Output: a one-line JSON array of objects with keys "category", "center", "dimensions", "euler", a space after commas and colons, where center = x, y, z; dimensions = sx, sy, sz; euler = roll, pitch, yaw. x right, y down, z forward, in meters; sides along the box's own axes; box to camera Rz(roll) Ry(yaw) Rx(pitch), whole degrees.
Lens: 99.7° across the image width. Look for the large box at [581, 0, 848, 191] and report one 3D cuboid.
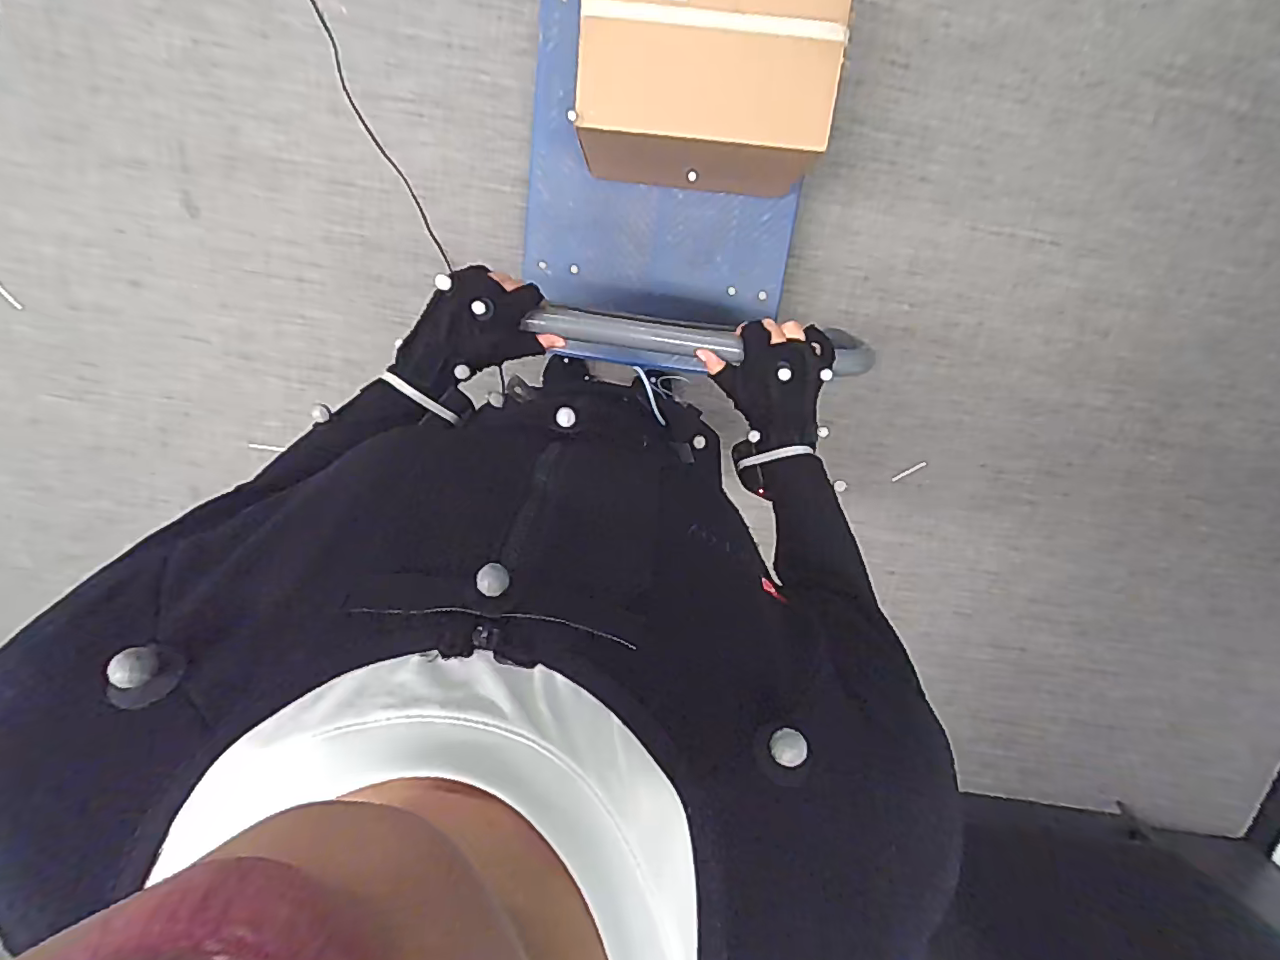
[{"category": "large box", "center": [0.117, -0.729, 0.968], "dimensions": [0.408, 0.320, 0.320], "euler": [5, 105, 0]}]
